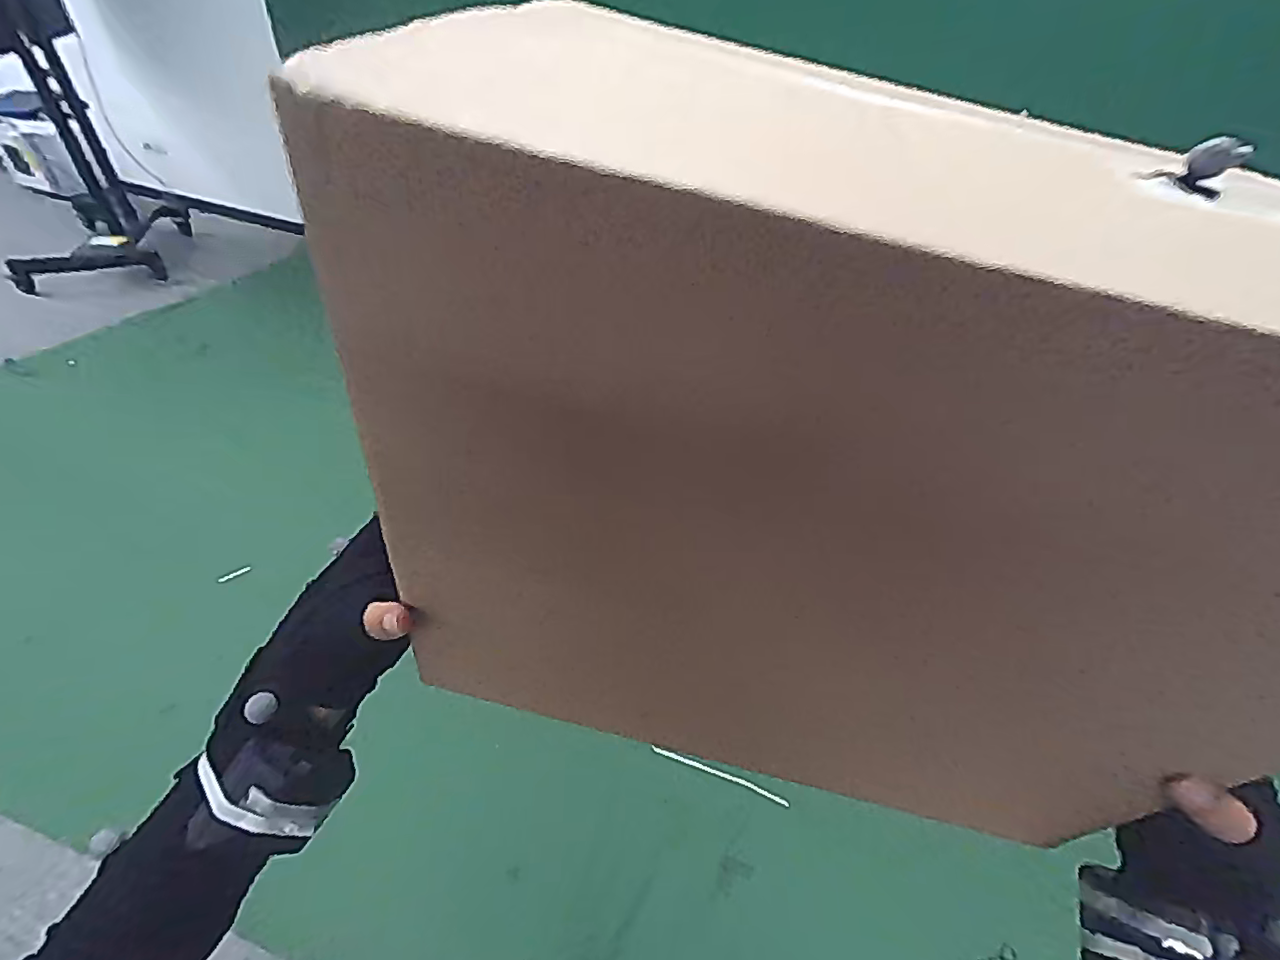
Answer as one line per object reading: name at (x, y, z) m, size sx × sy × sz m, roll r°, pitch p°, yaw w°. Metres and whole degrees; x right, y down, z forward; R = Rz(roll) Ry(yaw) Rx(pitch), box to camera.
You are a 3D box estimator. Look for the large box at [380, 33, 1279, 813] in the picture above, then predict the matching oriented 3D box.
large box at (0.117, -0.038, 0.350) m, size 0.408 × 0.320 × 0.320 m, roll 15°, pitch 44°, yaw 0°
